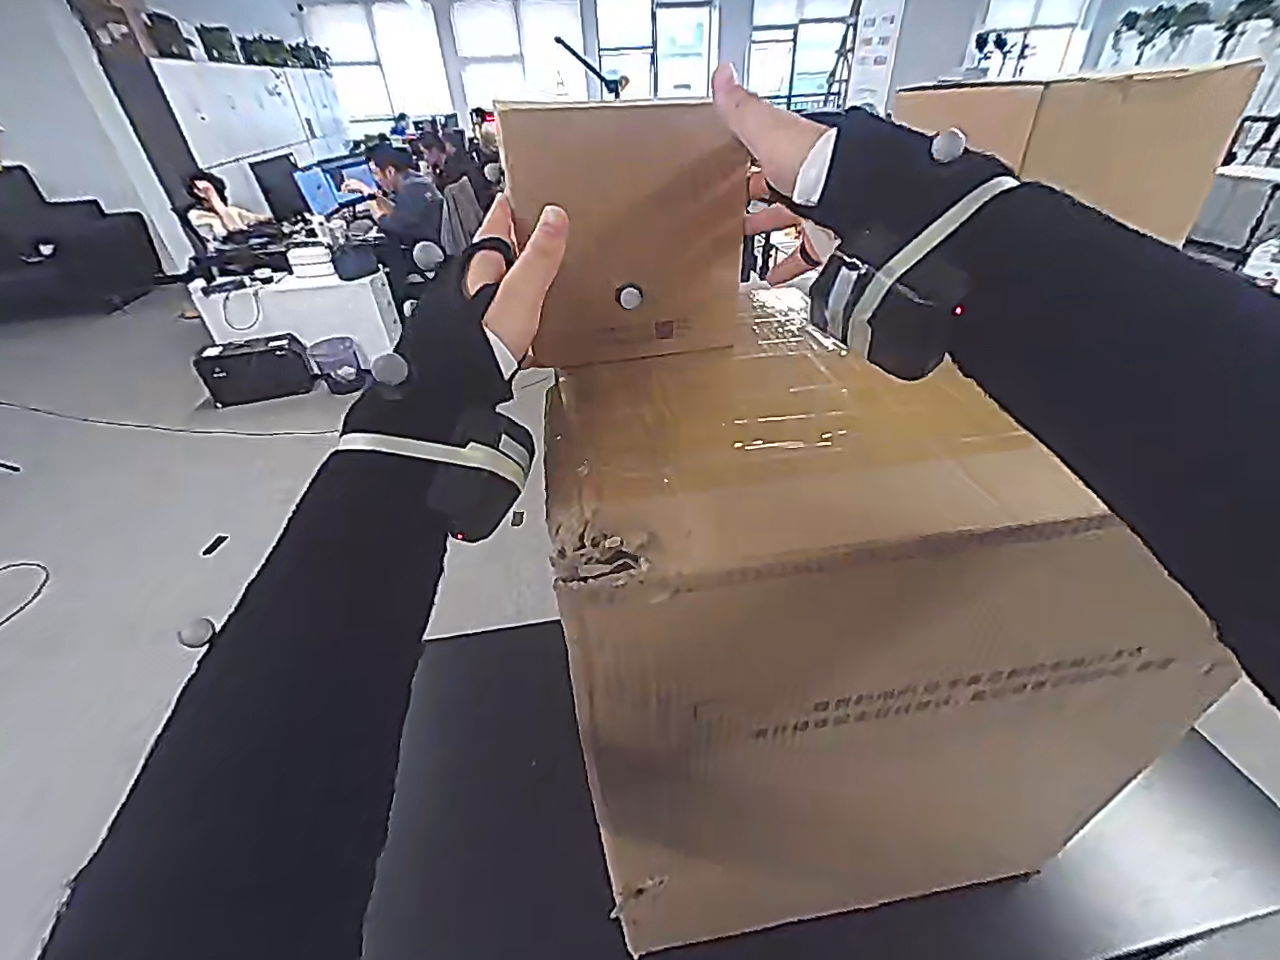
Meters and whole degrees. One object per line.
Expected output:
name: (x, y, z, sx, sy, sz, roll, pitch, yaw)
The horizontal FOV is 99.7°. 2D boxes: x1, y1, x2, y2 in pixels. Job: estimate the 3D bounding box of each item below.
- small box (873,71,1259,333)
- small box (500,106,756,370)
small box: (0.329, -0.240, 0.469, 0.168, 0.176, 0.179, -9, 35, -6)
small box: (-0.021, -0.205, 0.448, 0.168, 0.176, 0.179, -9, 36, -10)
